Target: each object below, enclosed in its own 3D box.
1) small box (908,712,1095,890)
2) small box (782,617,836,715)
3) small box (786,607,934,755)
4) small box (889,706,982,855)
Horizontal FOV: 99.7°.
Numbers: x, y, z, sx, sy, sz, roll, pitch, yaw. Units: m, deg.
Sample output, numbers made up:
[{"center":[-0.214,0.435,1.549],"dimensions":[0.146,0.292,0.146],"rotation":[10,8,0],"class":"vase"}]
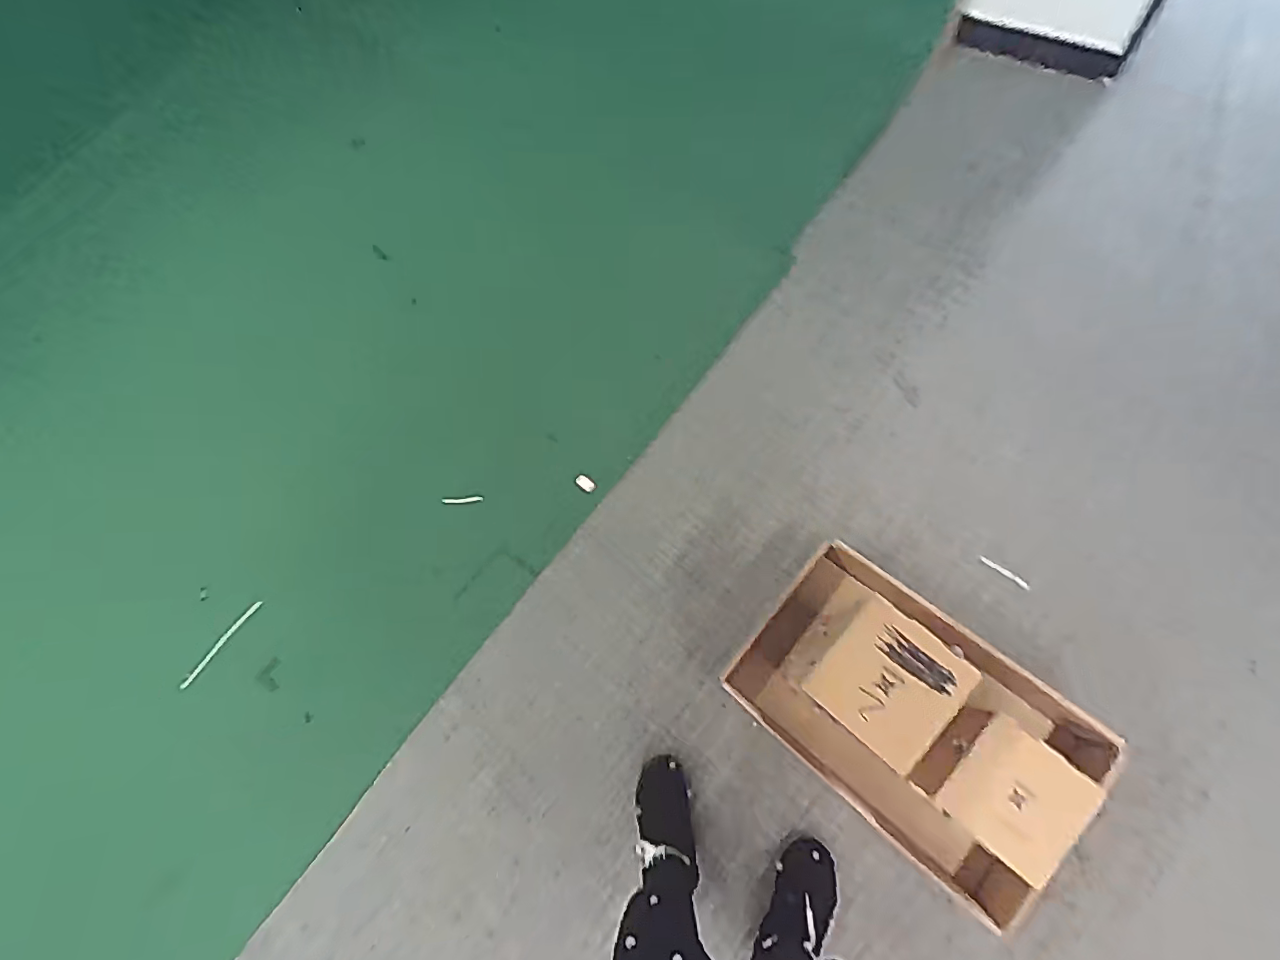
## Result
[{"center":[0.575,0.507,0.890],"dimensions":[0.168,0.176,0.179],"rotation":[40,83,22],"class":"small box"},{"center":[0.413,0.410,1.129],"dimensions":[0.168,0.176,0.179],"rotation":[37,82,18],"class":"small box"},{"center":[0.382,0.356,0.977],"dimensions":[0.179,0.176,0.168],"rotation":[-45,69,-6],"class":"small box"},{"center":[0.606,0.563,1.041],"dimensions":[0.168,0.176,0.179],"rotation":[38,82,21],"class":"small box"}]
